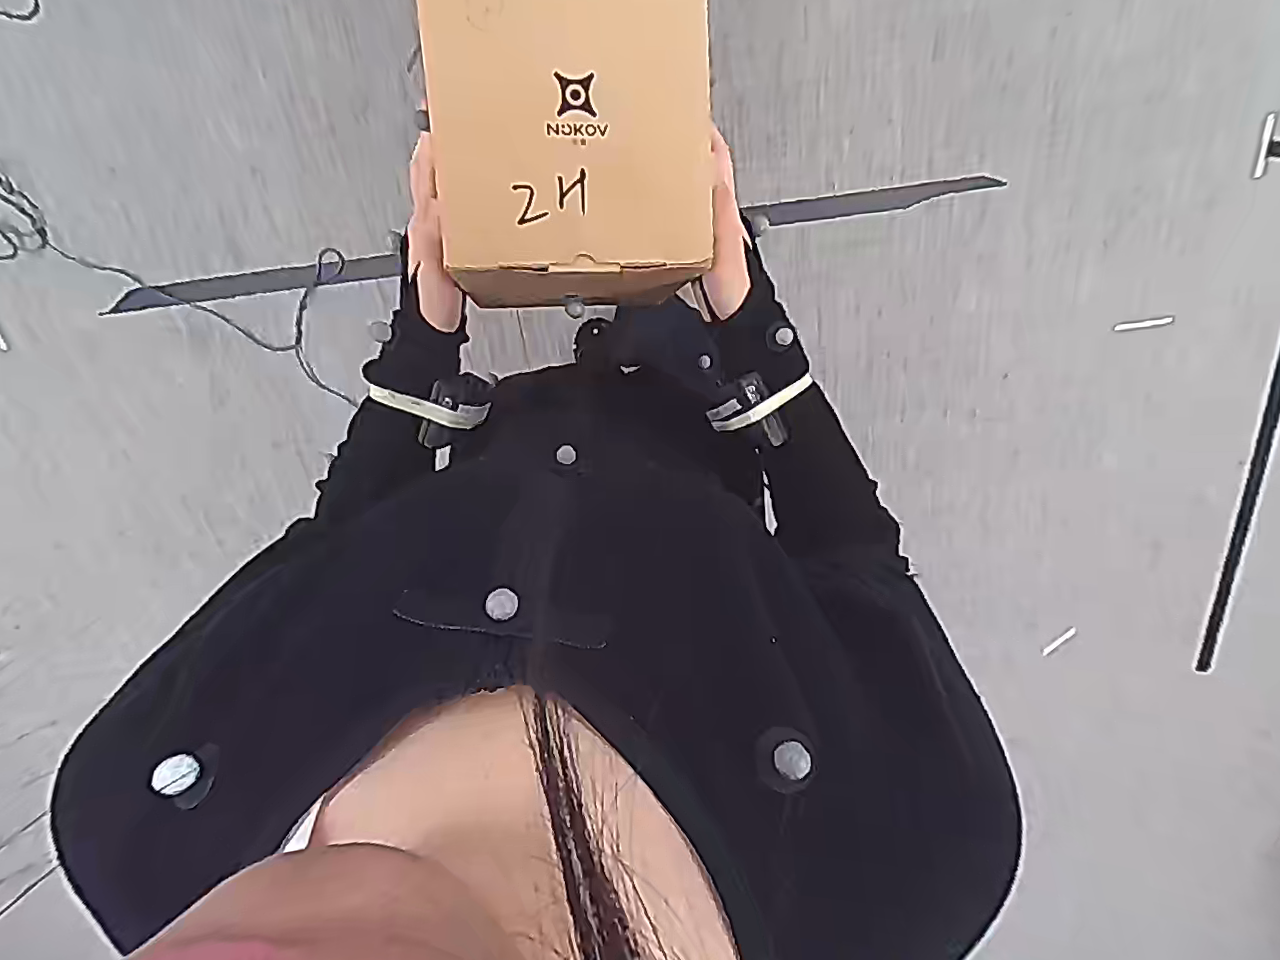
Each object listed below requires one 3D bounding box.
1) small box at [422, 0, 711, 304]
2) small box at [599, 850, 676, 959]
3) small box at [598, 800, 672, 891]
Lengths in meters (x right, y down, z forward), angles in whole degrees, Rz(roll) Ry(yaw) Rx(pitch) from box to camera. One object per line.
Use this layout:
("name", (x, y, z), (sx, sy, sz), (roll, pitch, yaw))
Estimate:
("small box", (-0.051, -0.232, 0.392), (0.168, 0.176, 0.179), (-4, 100, -8))
("small box", (-0.006, 1.060, 1.333), (0.168, 0.176, 0.179), (-9, 108, 0))
("small box", (-0.016, 1.015, 1.489), (0.179, 0.176, 0.168), (-9, 109, 2))
